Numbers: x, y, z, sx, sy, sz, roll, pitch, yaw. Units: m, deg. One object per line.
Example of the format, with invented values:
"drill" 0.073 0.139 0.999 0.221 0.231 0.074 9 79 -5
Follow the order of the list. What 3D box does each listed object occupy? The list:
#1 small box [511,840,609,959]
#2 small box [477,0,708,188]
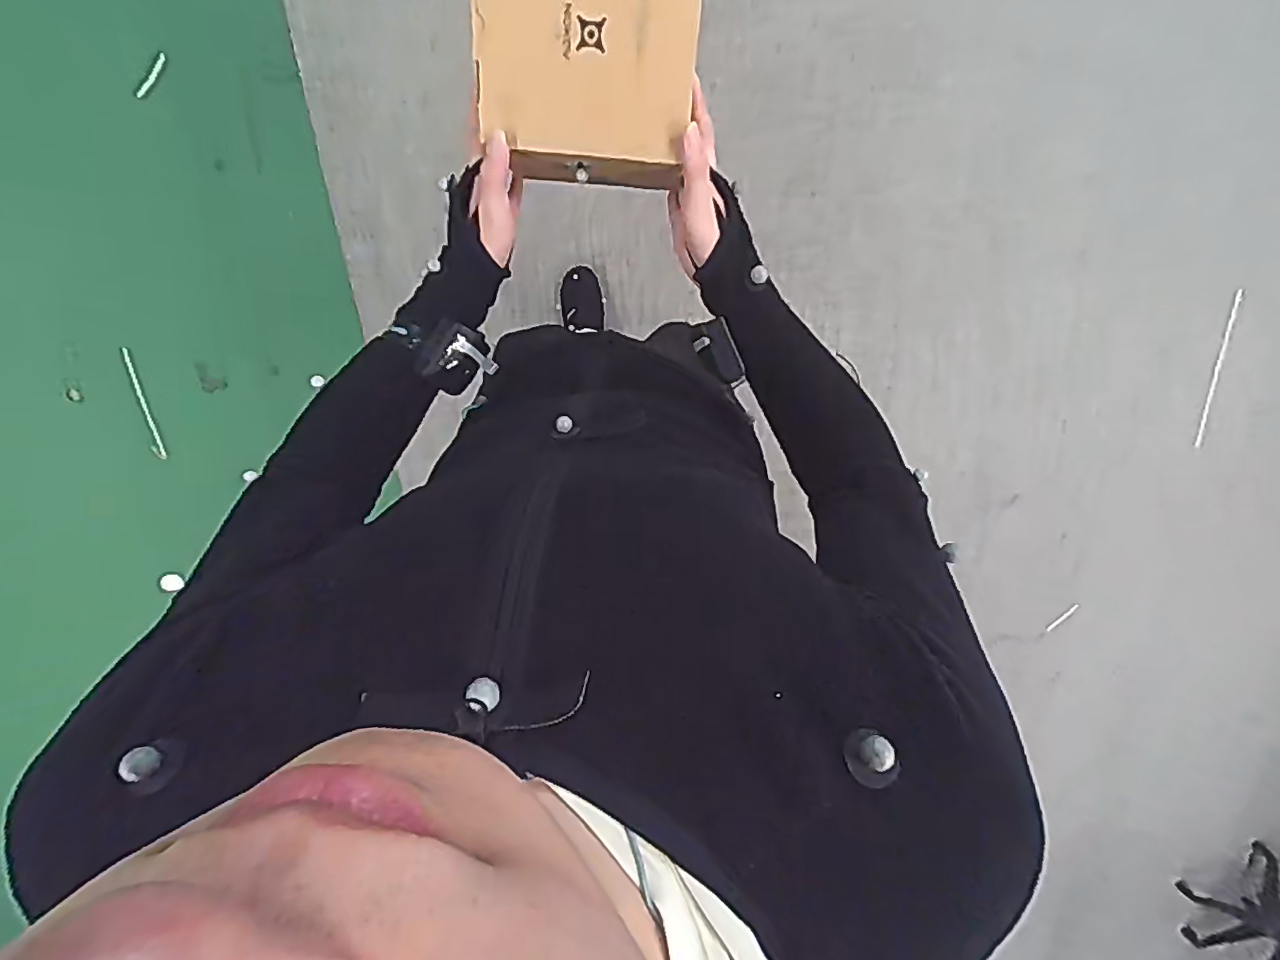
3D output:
"small box" -0.159 0.897 1.134 0.179 0.176 0.168 -6 111 -2
"small box" -0.037 -0.371 0.486 0.179 0.176 0.168 5 111 -2
